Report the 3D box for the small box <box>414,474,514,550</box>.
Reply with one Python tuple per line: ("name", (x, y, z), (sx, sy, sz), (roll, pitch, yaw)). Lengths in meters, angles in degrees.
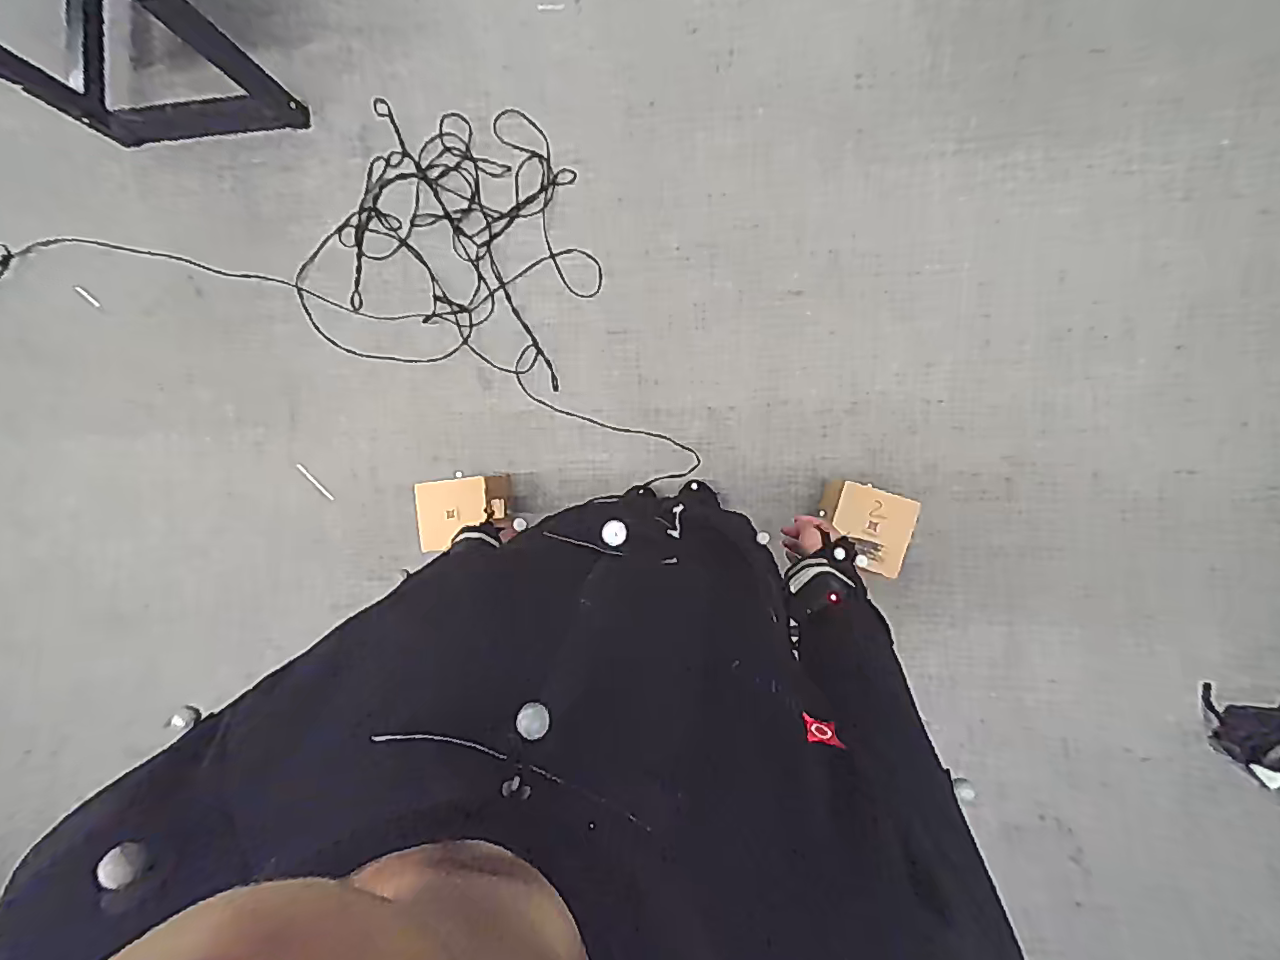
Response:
("small box", (-0.428, 0.078, 1.336), (0.179, 0.176, 0.168), (-7, 90, 5))
